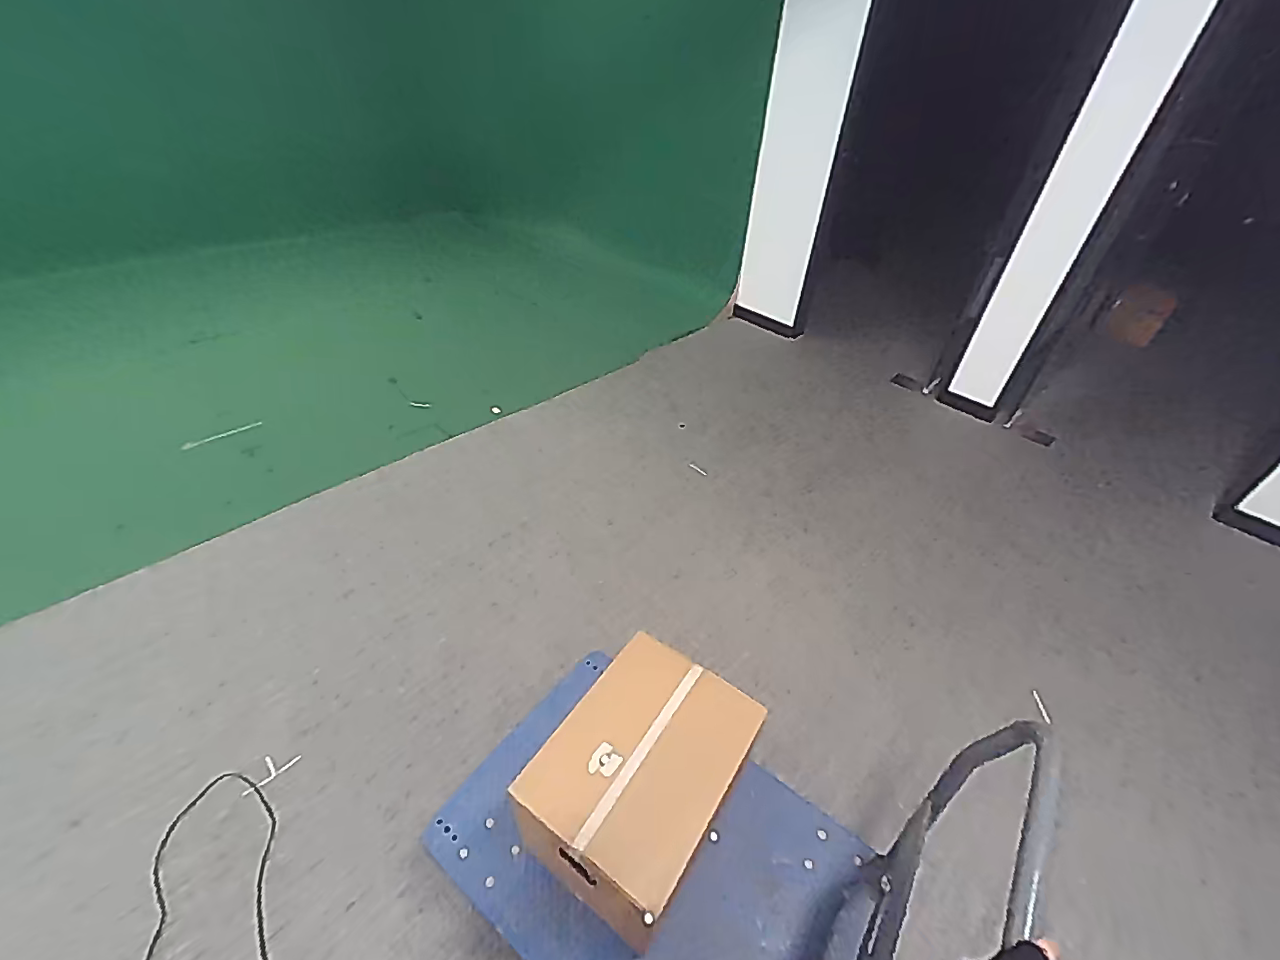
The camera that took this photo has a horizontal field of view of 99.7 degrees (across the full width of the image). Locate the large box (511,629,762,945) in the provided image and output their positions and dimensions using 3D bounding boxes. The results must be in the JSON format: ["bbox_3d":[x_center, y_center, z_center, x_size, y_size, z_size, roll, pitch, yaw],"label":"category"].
[{"bbox_3d":[0.001,0.600,1.097,0.320,0.320,0.408,26,46,25],"label":"large box"}]
